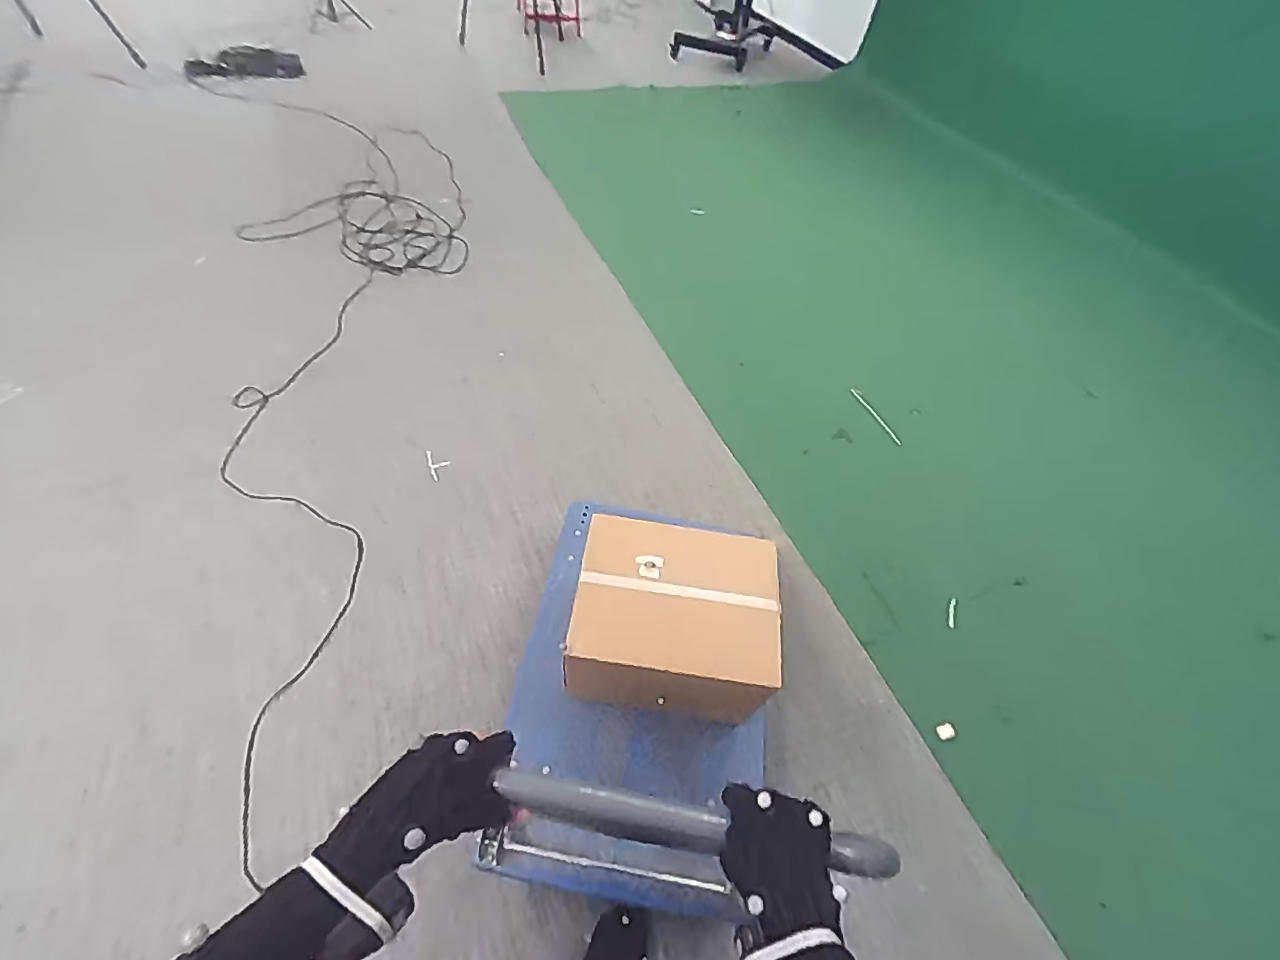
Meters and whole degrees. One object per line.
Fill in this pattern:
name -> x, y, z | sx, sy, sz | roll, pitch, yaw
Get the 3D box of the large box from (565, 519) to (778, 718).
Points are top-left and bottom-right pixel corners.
large box -> 0.063, 0.317, 1.200 | 0.408, 0.320, 0.320 | 8, 53, 0
